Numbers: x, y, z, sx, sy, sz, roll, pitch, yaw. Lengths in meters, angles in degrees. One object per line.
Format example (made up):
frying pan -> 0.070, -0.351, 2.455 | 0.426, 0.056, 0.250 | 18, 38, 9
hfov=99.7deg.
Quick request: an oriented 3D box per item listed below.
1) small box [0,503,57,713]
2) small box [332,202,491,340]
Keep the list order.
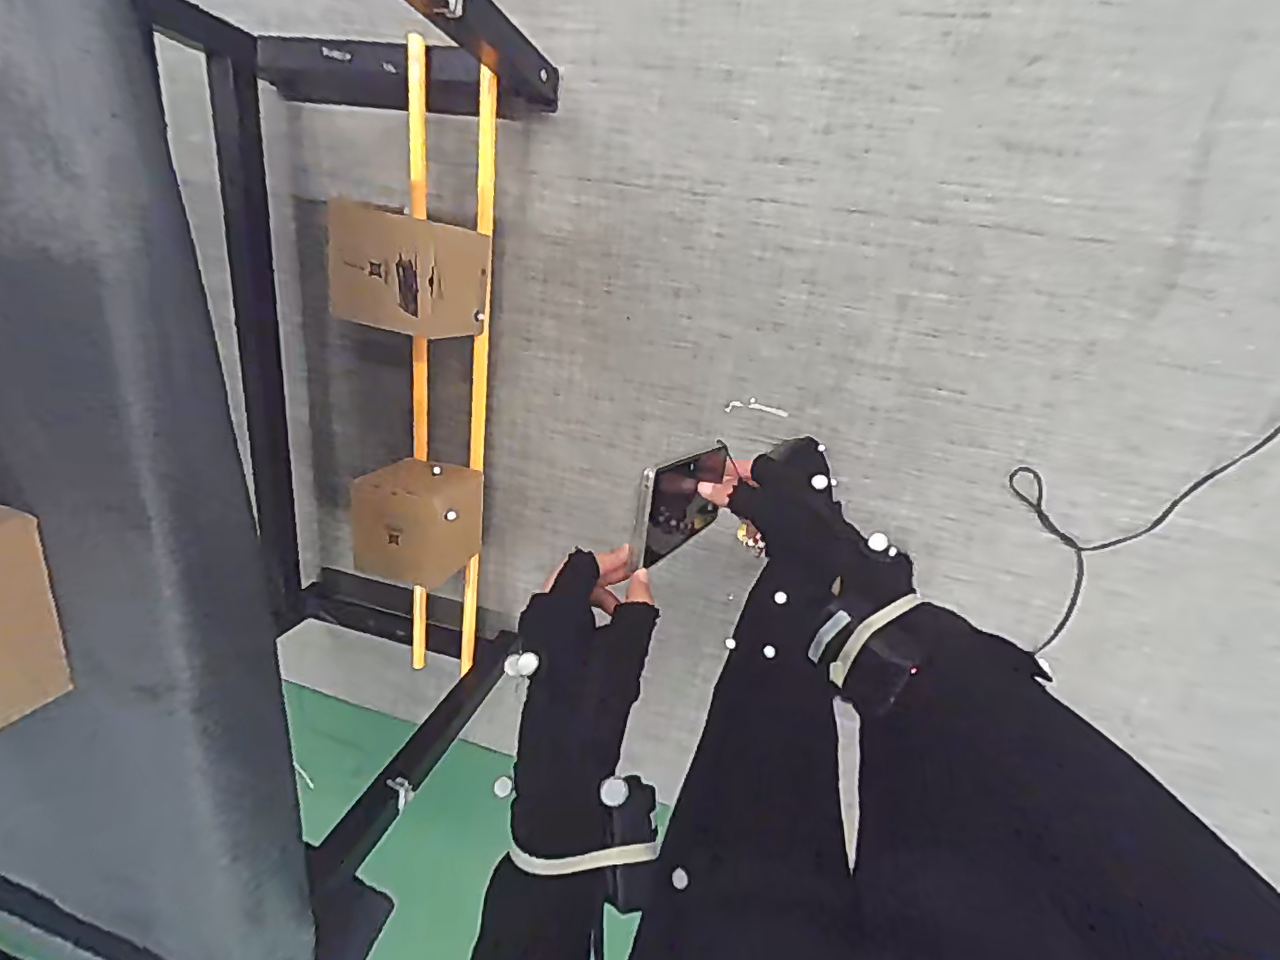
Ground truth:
small box -> -0.591, 0.108, 0.394 | 0.168, 0.176, 0.179 | 14, 110, 10
small box -> -0.359, -0.330, 0.869 | 0.179, 0.176, 0.168 | 15, 110, 9
